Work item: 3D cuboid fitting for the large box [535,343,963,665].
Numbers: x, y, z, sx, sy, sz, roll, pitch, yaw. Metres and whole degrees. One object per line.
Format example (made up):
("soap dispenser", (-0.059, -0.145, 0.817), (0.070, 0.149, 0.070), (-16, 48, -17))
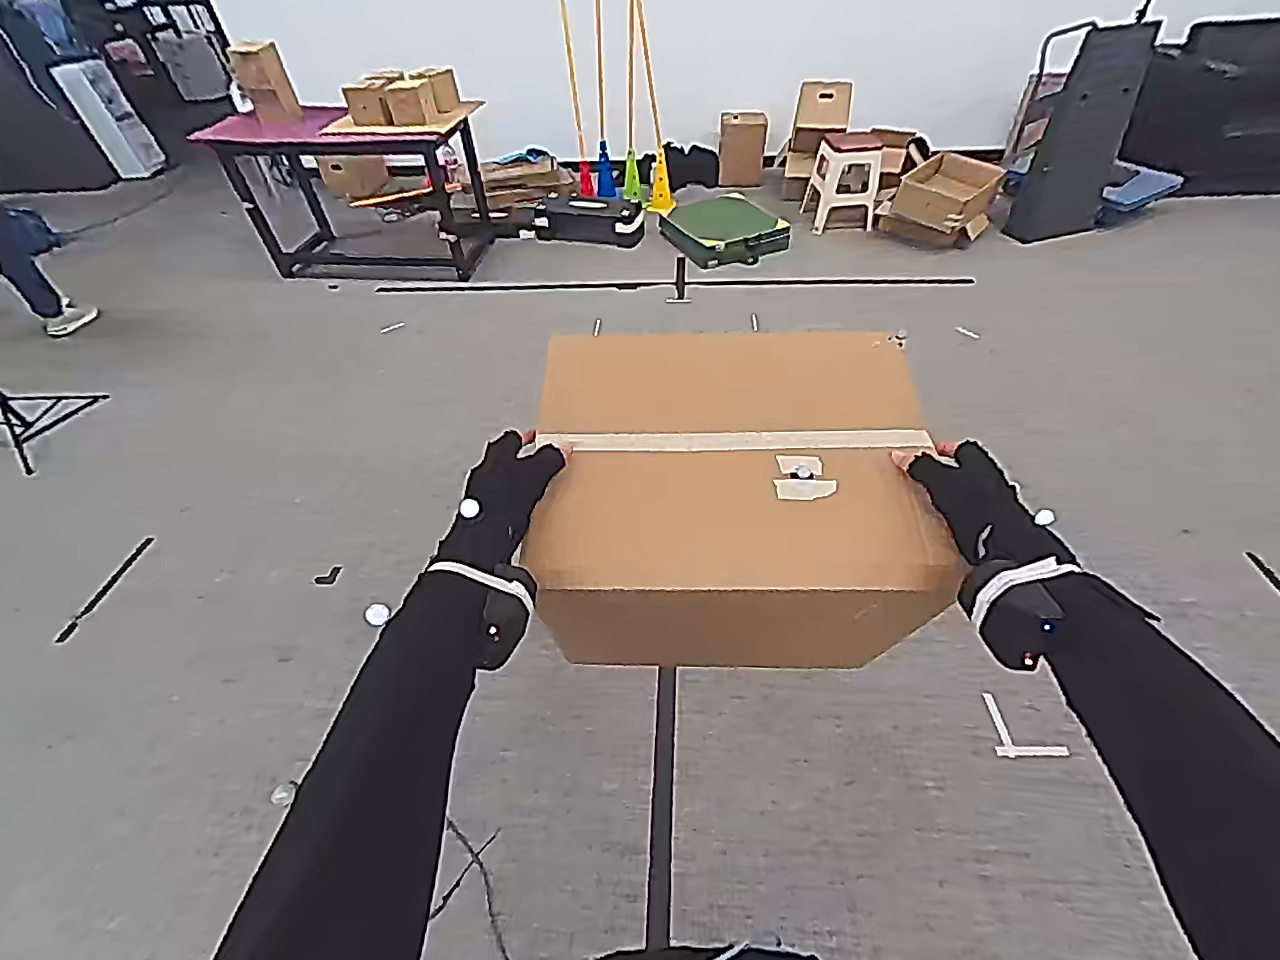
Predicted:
("large box", (0.101, 0.046, 0.699), (0.408, 0.320, 0.320), (0, 59, 2))
